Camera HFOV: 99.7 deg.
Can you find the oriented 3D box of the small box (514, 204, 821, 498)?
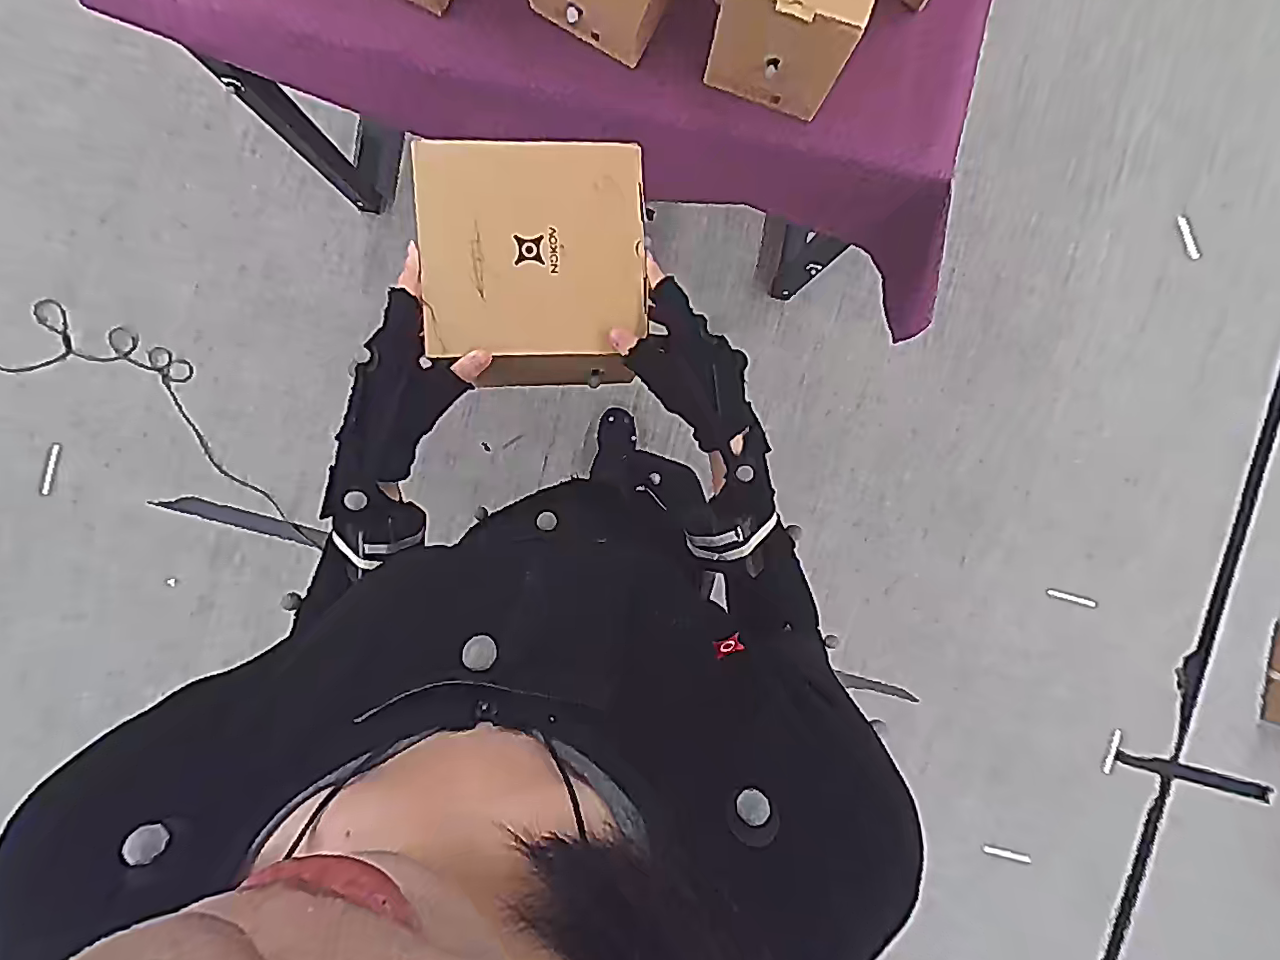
[{"bbox_3d":[0.029,-0.115,0.481,0.176,0.168,0.179,-37,96,-43],"label":"small box"}]

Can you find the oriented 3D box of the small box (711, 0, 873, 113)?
[{"bbox_3d":[0.197,-0.611,0.675,0.168,0.176,0.179,18,92,-4],"label":"small box"}]
